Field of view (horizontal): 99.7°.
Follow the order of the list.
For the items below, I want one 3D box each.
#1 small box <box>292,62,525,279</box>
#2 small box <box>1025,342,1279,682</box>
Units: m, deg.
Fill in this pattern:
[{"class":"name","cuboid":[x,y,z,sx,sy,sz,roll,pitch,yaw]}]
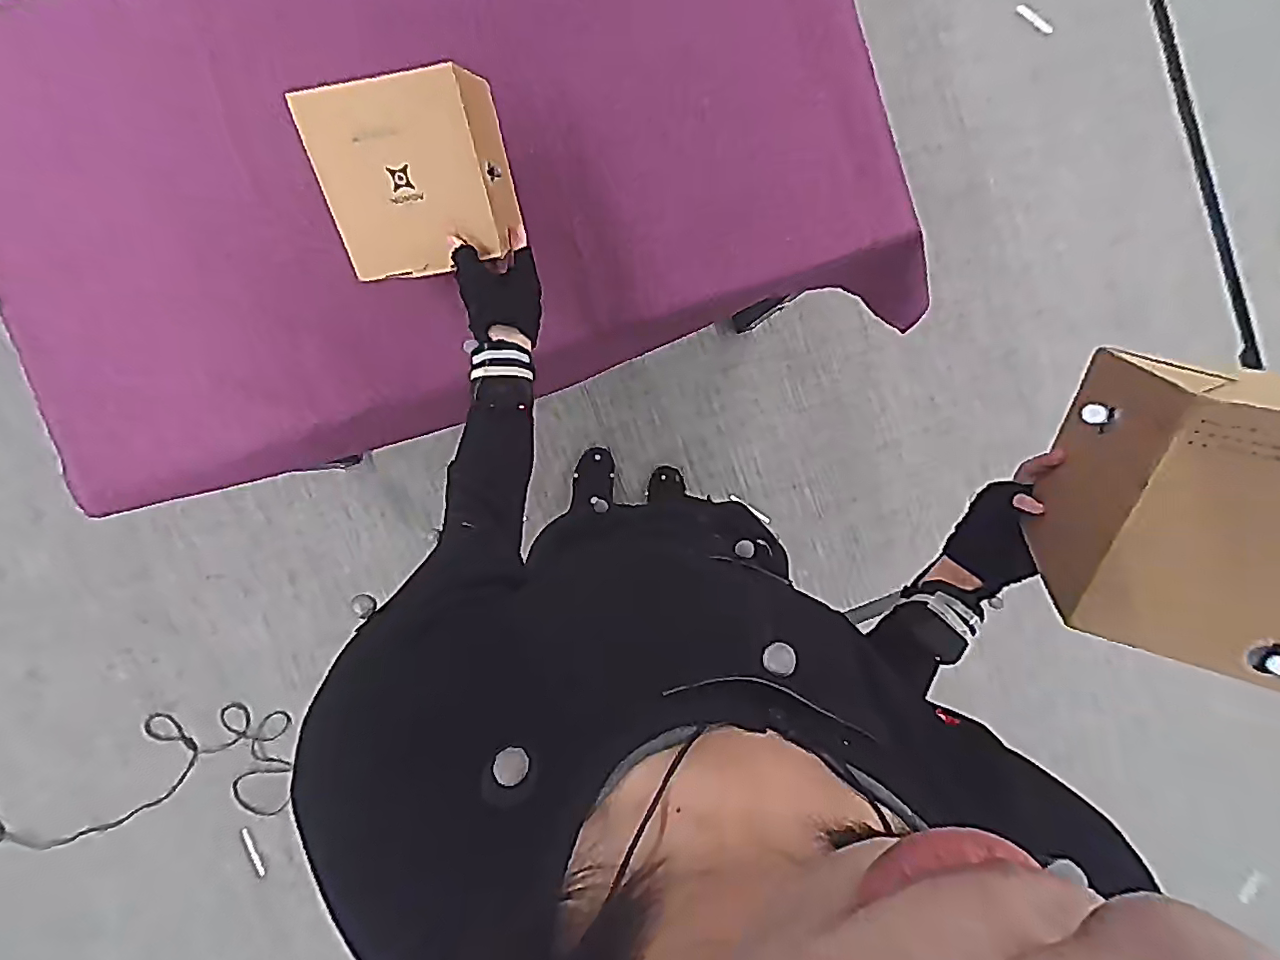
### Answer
[{"class":"small box","cuboid":[-0.241,-0.349,0.621,0.168,0.176,0.179,-9,120,3]},{"class":"small box","cuboid":[0.401,0.009,0.368,0.168,0.179,0.176,16,118,20]}]
